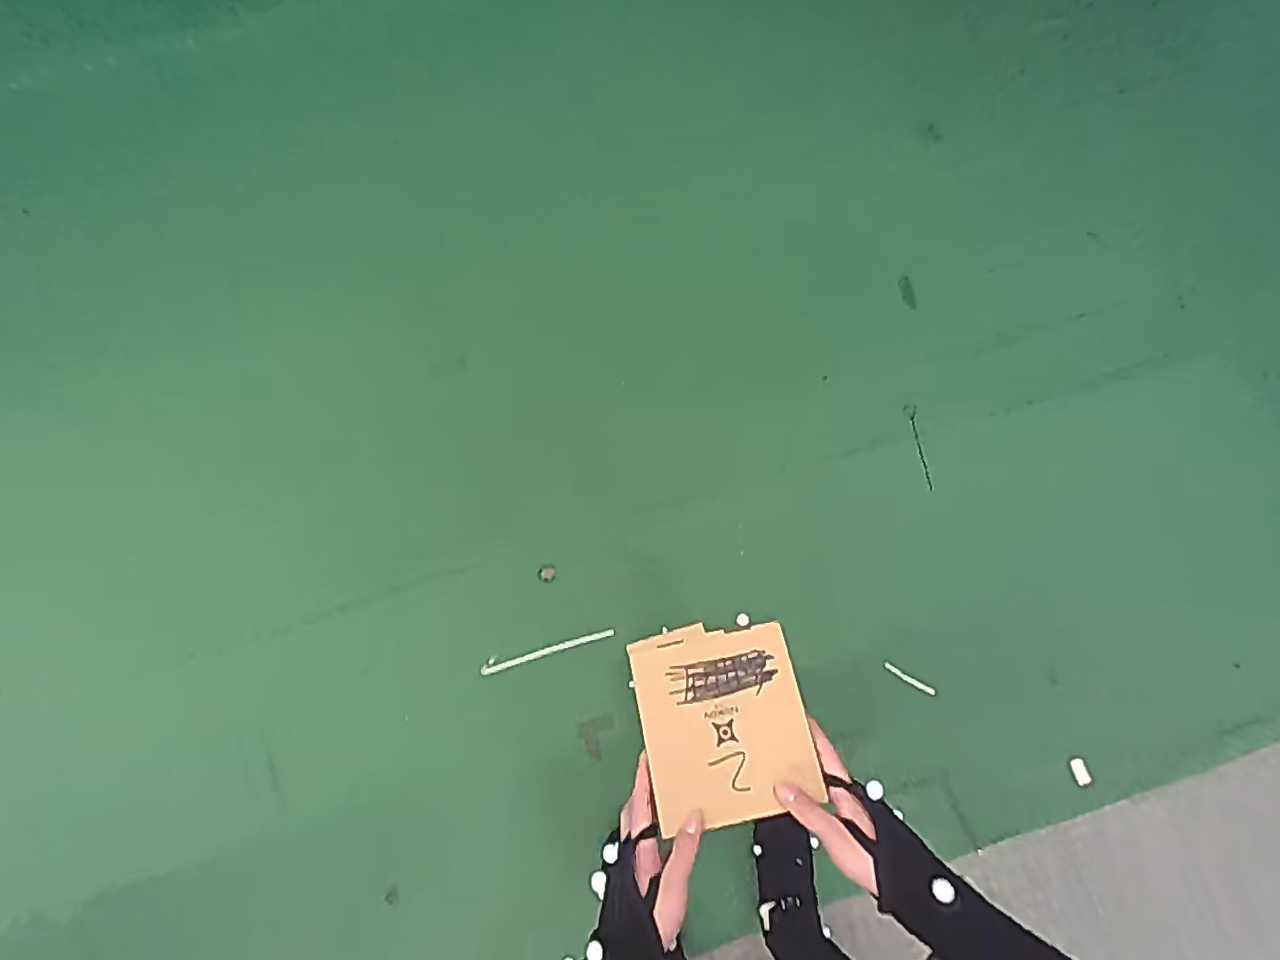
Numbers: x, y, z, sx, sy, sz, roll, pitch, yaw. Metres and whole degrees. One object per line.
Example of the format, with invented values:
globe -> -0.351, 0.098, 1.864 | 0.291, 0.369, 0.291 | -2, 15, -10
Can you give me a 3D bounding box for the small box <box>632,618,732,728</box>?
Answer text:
small box -> 0.084, 0.409, 1.155 | 0.168, 0.176, 0.179 | -16, 72, -3
